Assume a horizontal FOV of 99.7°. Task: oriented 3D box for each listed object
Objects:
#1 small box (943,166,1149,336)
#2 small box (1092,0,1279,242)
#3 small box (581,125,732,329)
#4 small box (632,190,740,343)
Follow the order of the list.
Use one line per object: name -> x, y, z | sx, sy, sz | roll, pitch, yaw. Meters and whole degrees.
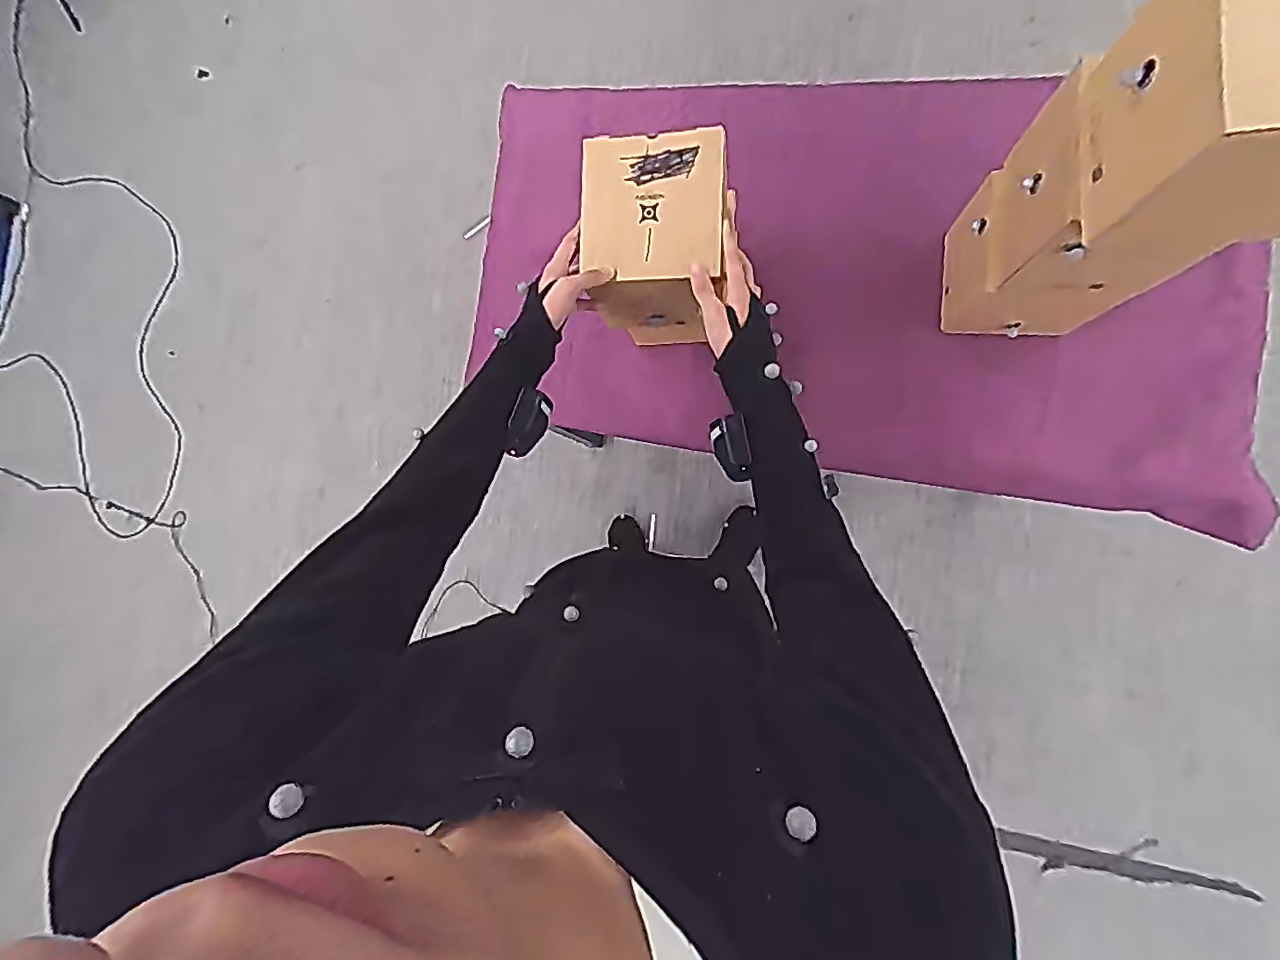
small box -> 0.554, -0.309, 0.757 | 0.179, 0.176, 0.168 | 4, 87, 10
small box -> 0.504, -0.309, 0.432 | 0.179, 0.176, 0.168 | 1, 87, 10
small box -> 0.030, -0.304, 0.684 | 0.168, 0.176, 0.179 | 1, 88, 11
small box -> 0.066, -0.320, 0.845 | 0.179, 0.176, 0.168 | -1, 87, 10
